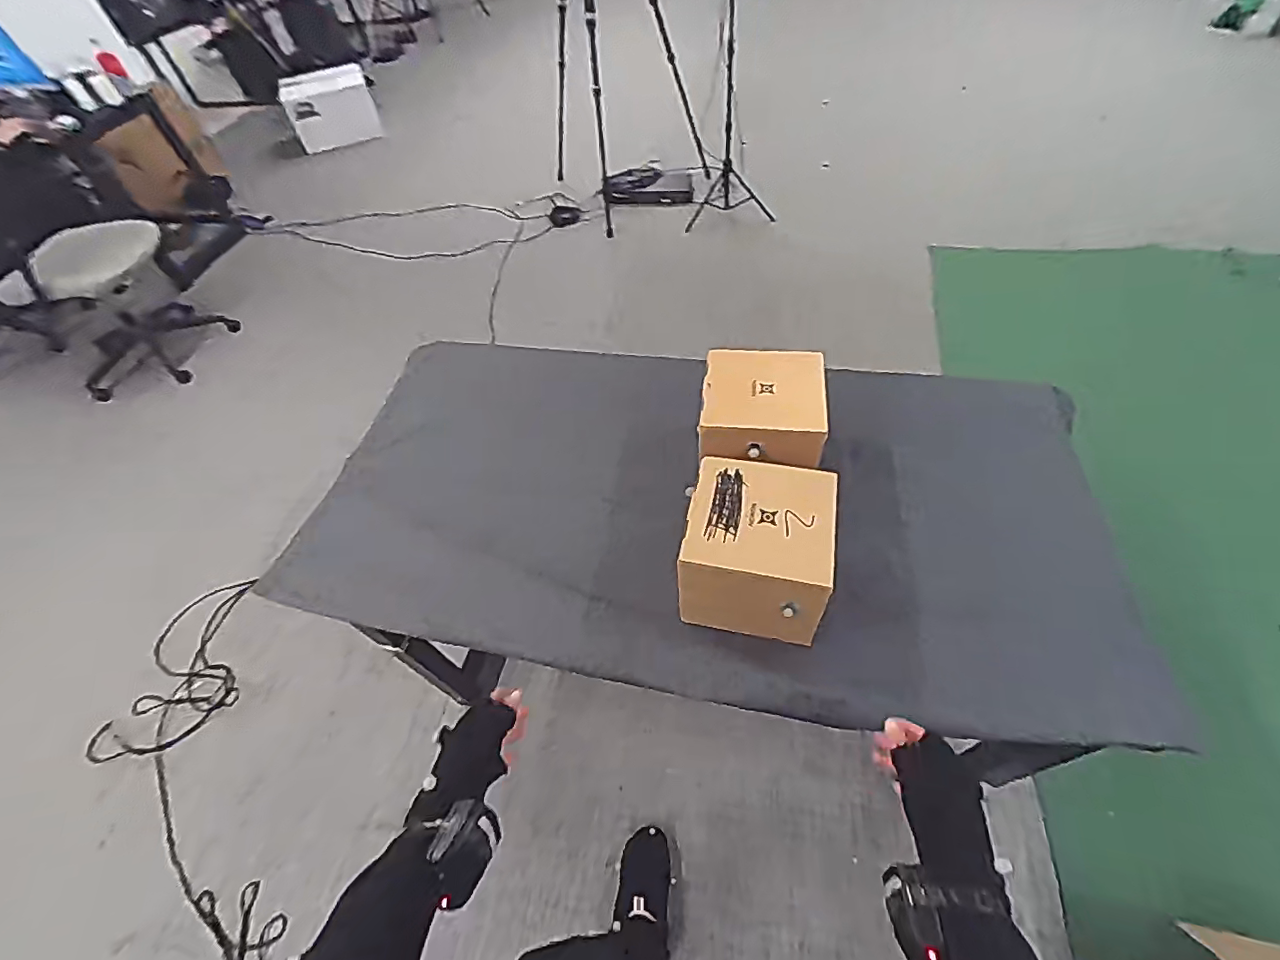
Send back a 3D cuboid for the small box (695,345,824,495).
[{"bbox_3d":[0.182,-0.090,0.849,0.179,0.176,0.168,3,54,10],"label":"small box"}]
